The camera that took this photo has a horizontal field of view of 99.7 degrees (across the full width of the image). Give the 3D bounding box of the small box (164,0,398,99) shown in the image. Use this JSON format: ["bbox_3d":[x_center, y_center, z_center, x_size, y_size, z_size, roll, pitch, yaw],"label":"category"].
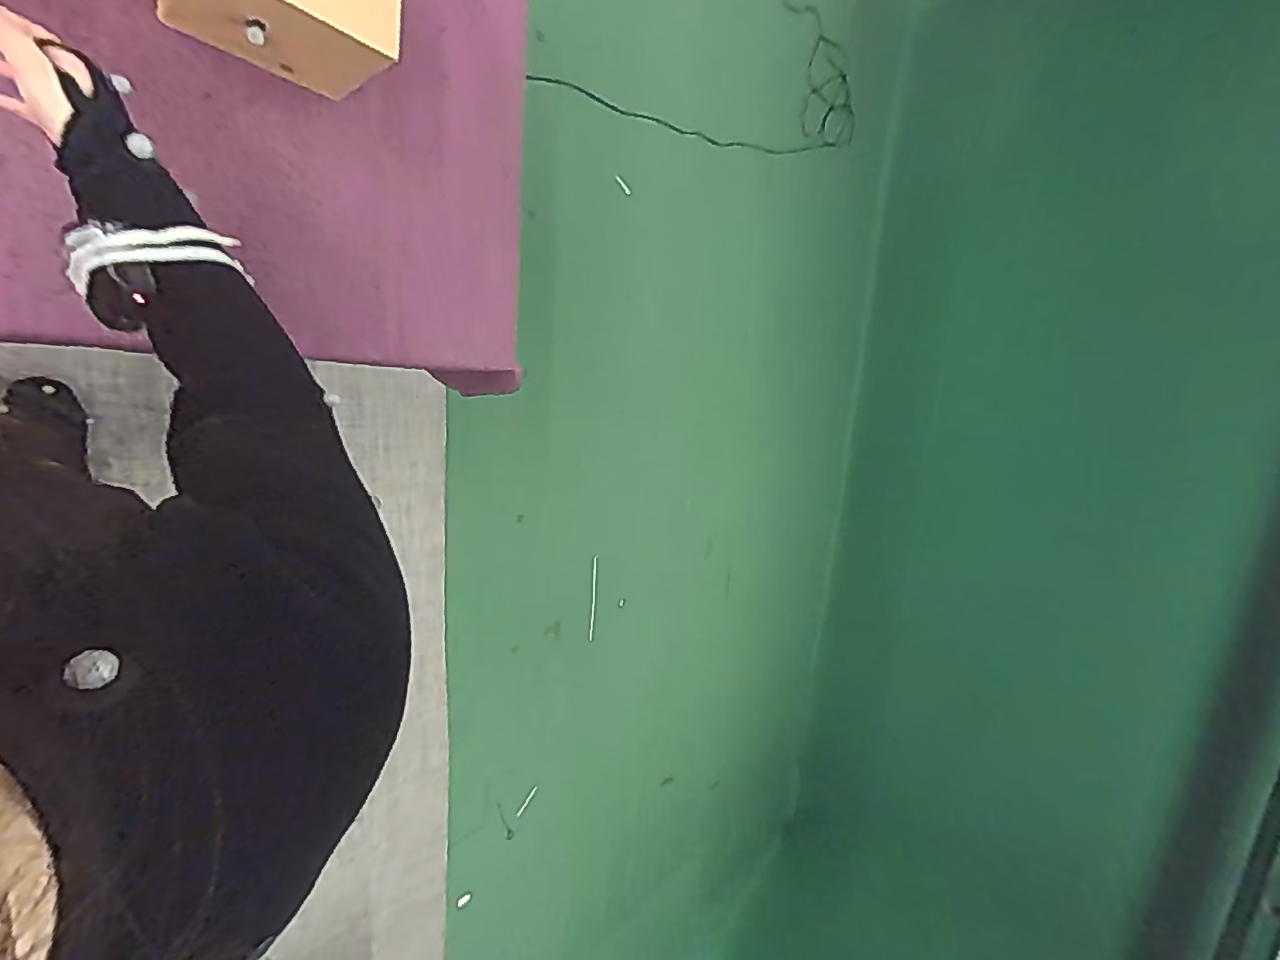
[{"bbox_3d":[-0.351,-0.517,0.527,0.168,0.176,0.179,-3,102,-47],"label":"small box"}]
